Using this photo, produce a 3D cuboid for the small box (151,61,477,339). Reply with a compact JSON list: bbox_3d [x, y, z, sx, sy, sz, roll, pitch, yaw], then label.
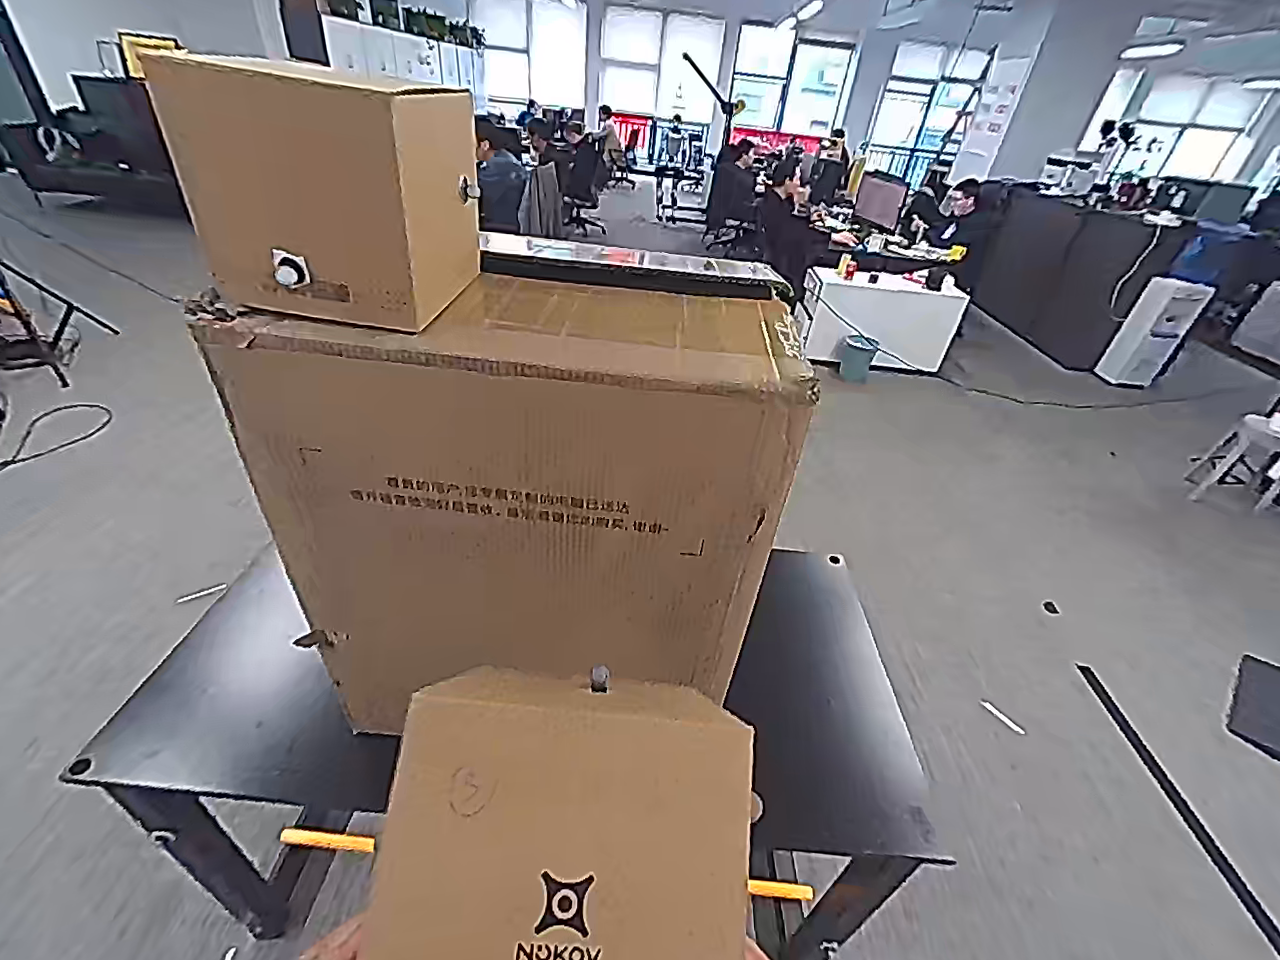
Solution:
[{"bbox_3d":[-0.245,-0.241,0.467,0.168,0.176,0.179,7,37,-2],"label":"small box"}]
